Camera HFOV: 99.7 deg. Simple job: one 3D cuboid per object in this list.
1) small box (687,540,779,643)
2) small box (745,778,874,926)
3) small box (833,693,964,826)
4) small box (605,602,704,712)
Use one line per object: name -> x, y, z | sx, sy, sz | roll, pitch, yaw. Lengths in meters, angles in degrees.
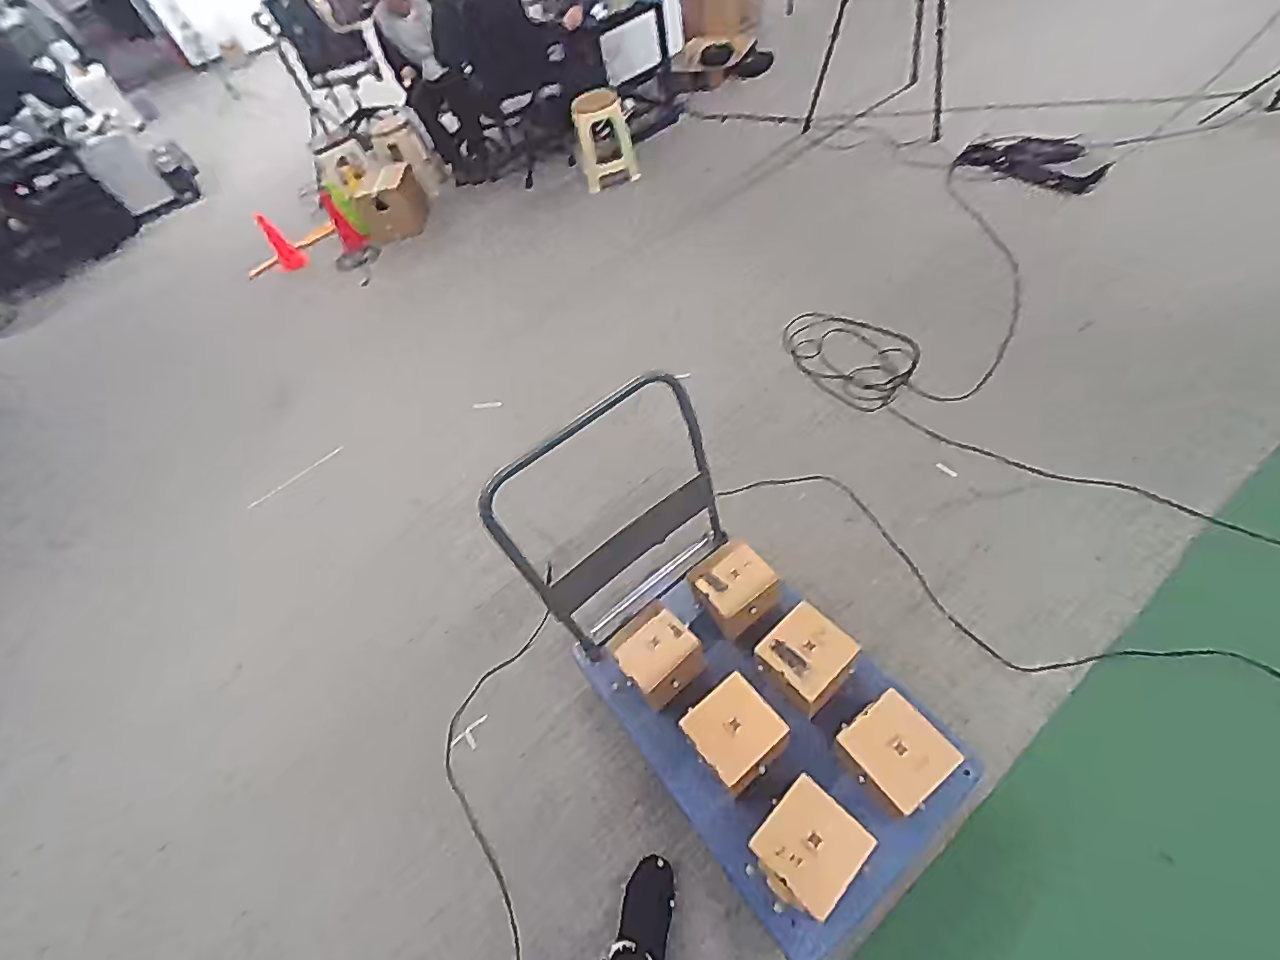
small box -> 0.249, 0.298, 1.425 | 0.179, 0.176, 0.168 | -34, 53, -13
small box -> 0.329, 0.731, 1.067 | 0.179, 0.176, 0.168 | -37, 51, -13
small box -> 0.527, 0.589, 1.134 | 0.168, 0.176, 0.179 | -34, 53, -12
small box -> 0.044, 0.449, 1.359 | 0.179, 0.176, 0.168 | -38, 54, -15
